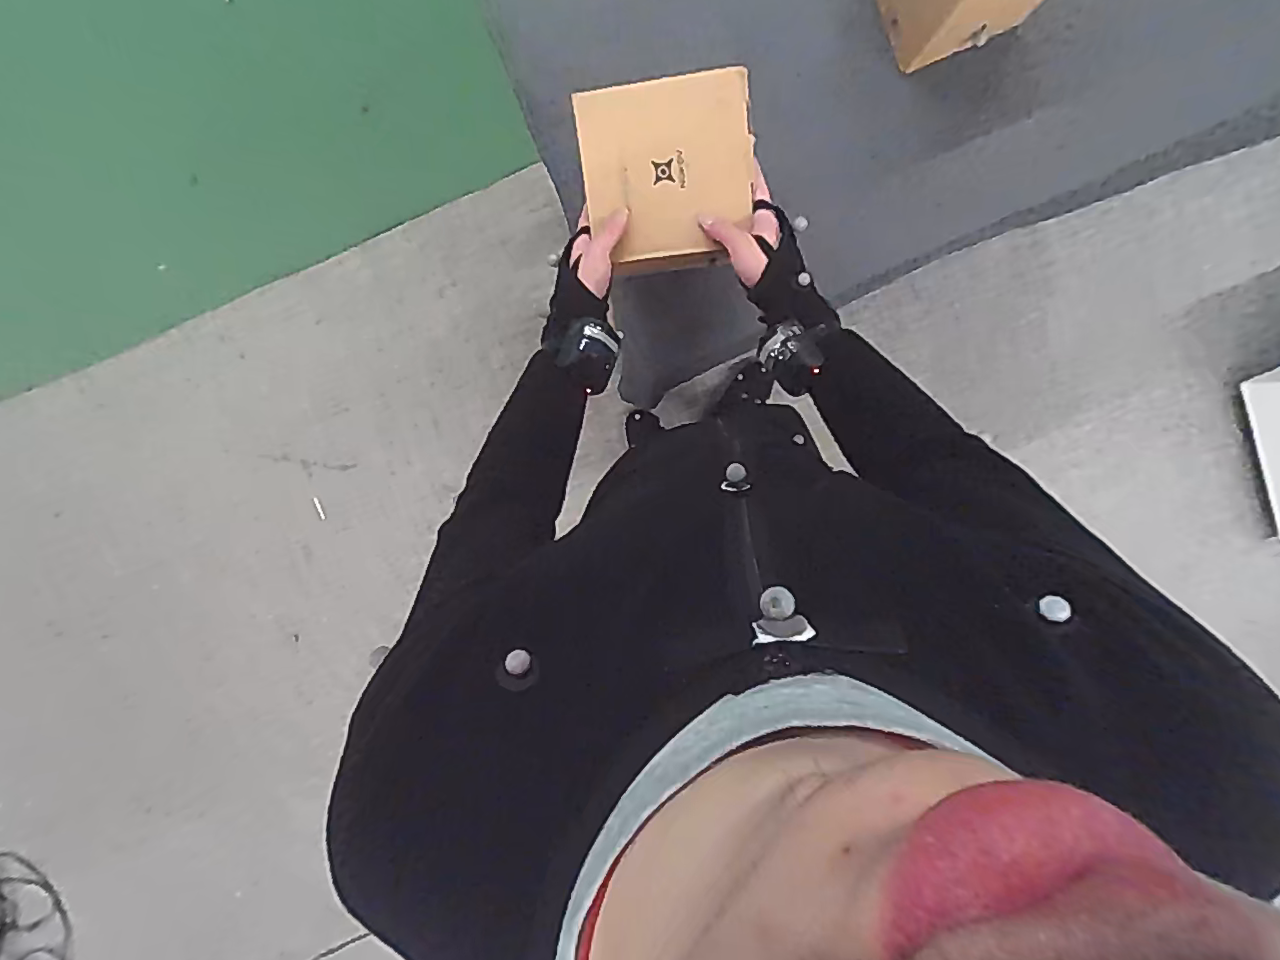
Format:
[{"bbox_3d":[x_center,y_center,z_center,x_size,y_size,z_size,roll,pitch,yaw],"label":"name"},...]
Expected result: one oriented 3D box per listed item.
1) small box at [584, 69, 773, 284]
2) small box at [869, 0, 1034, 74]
[{"bbox_3d":[0.042,-0.324,0.613,0.179,0.176,0.168,-7,105,4],"label":"small box"},{"bbox_3d":[0.408,-0.658,0.665,0.179,0.176,0.168,-24,97,0],"label":"small box"}]
